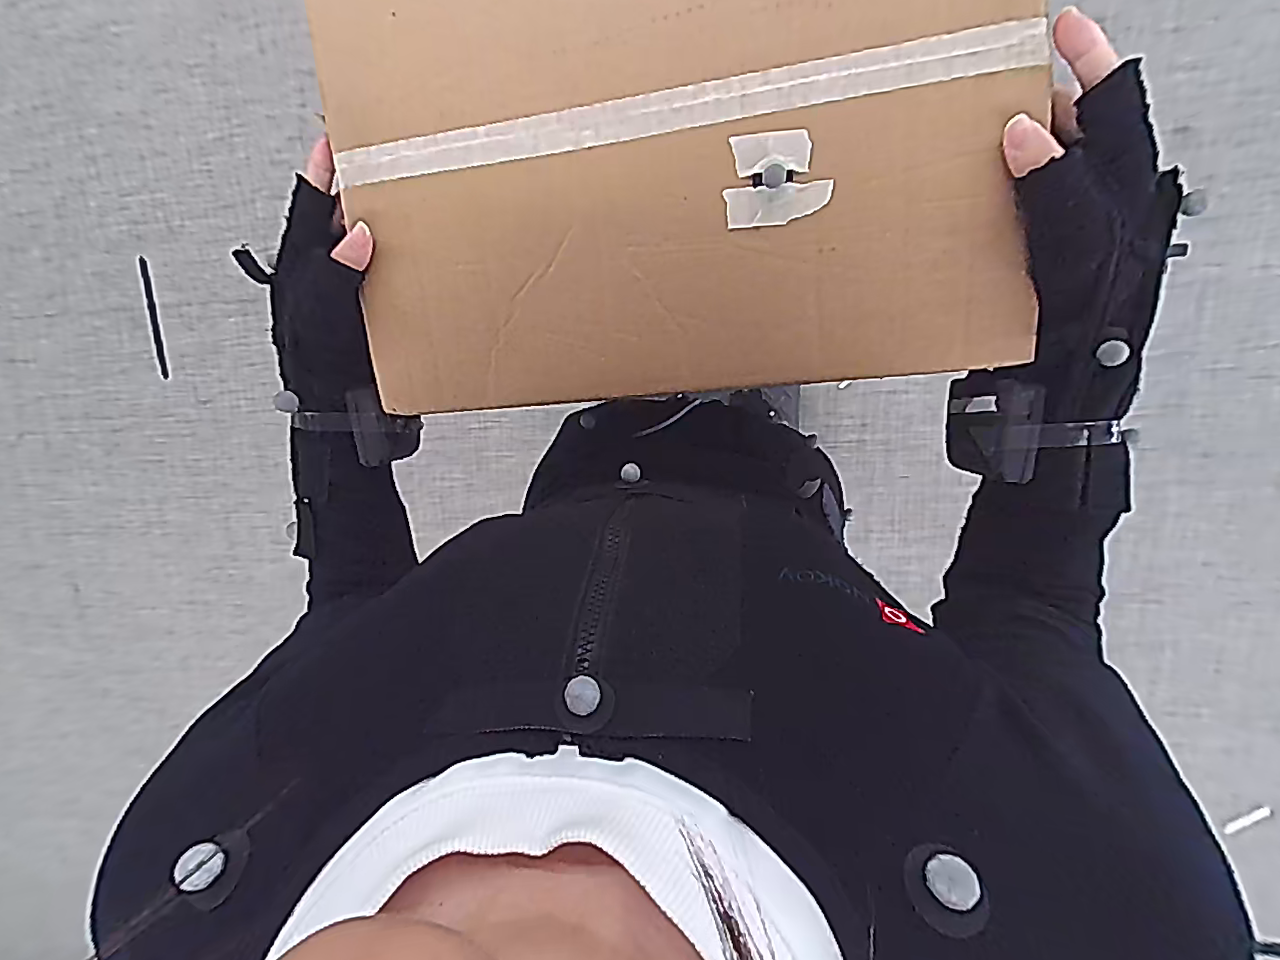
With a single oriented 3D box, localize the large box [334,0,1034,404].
[{"bbox_3d":[0.035,-0.247,0.464,0.408,0.320,0.320,-3,102,10],"label":"large box"}]
